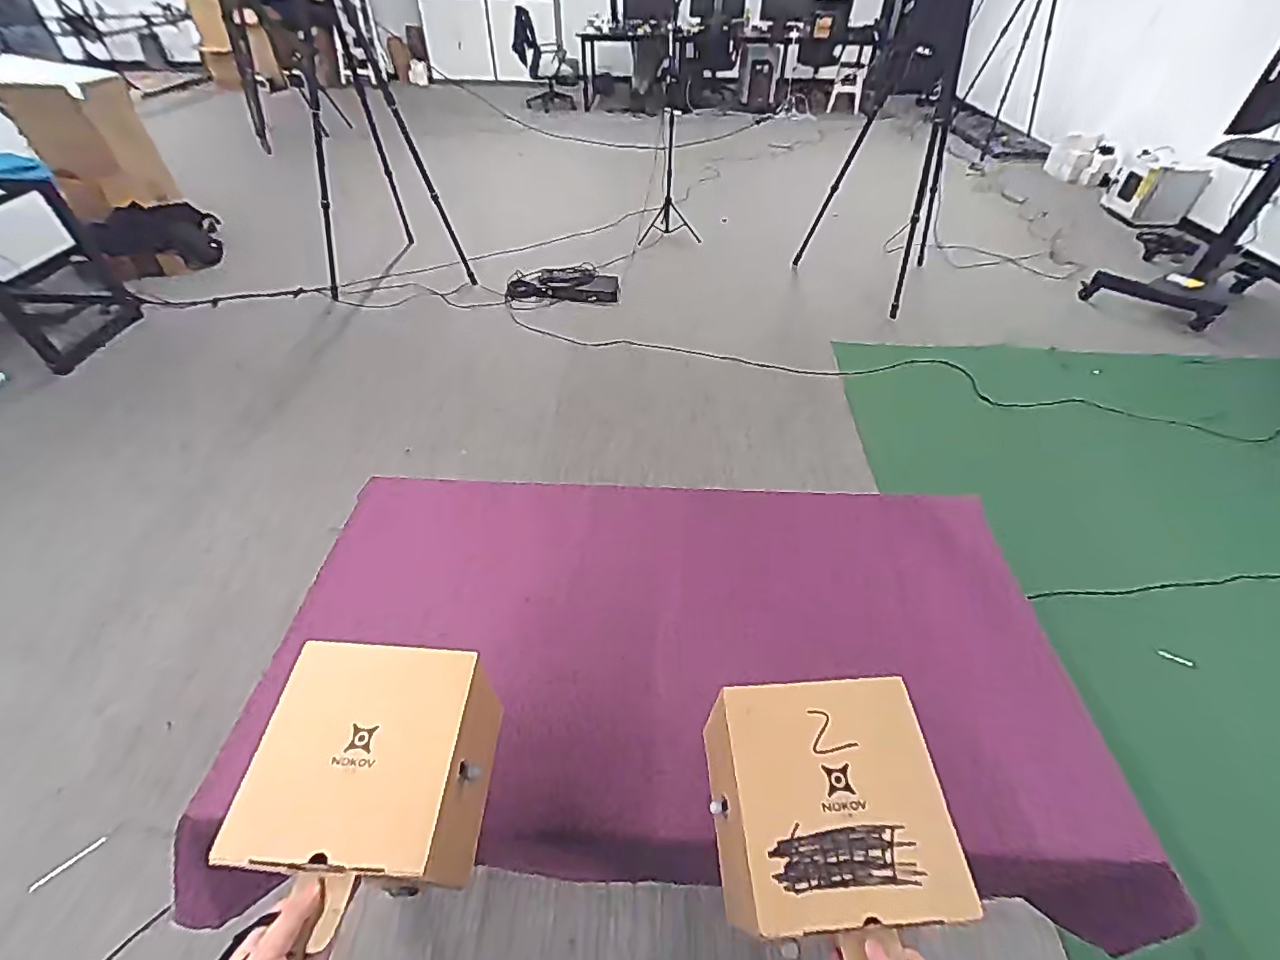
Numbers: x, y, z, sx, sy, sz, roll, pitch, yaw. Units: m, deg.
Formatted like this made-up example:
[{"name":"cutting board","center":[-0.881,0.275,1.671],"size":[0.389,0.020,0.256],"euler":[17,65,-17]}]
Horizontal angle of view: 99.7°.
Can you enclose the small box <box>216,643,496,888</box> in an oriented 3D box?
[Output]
[{"name":"small box","center":[-0.246,0.281,0.528],"size":[0.168,0.176,0.179],"euler":[5,52,0]}]
